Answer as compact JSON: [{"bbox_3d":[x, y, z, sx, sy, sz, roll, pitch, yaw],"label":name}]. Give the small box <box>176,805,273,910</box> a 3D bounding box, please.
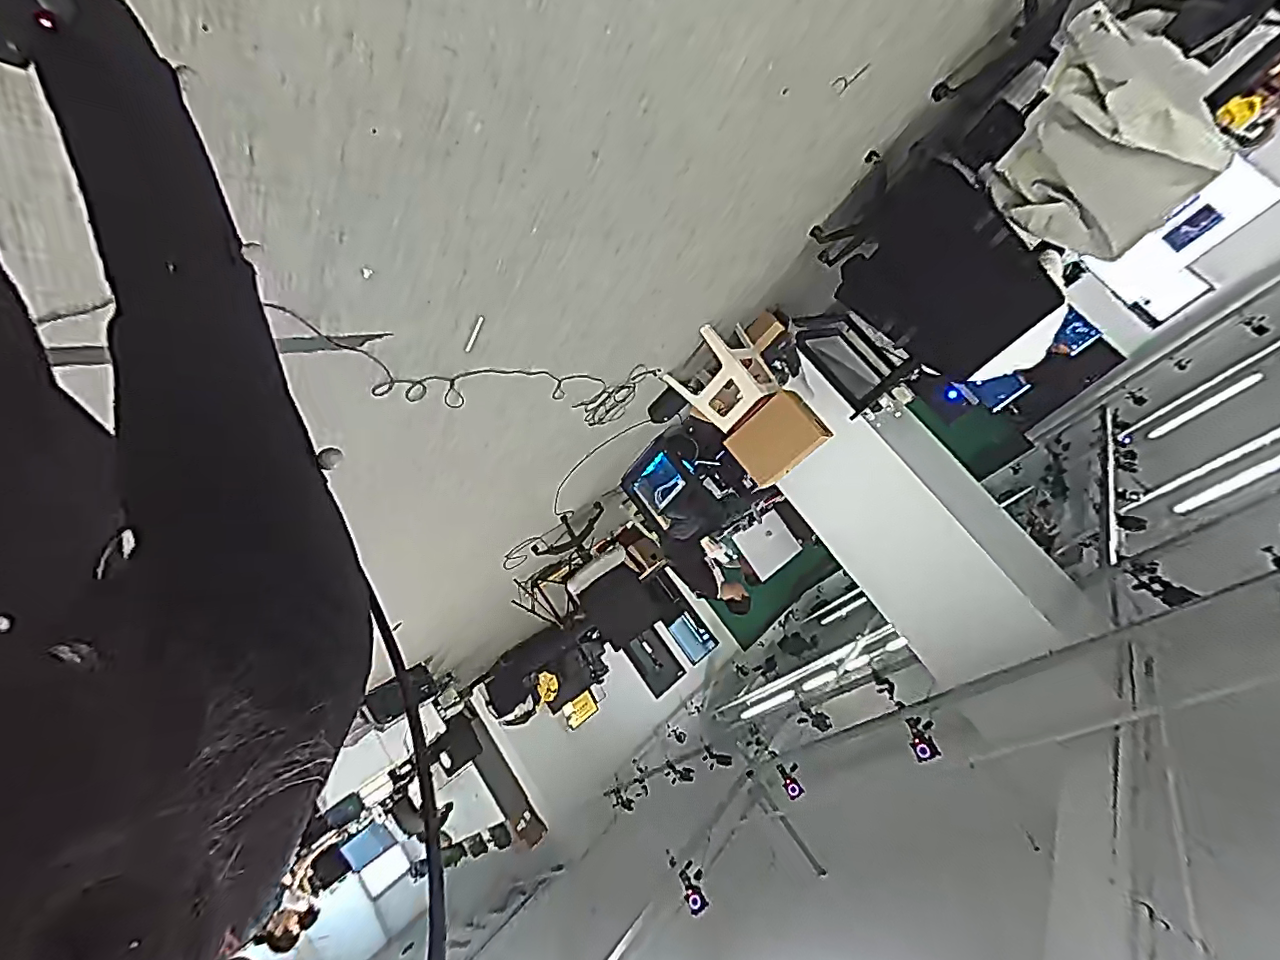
[{"bbox_3d":[-1.132,1.025,1.476,0.168,0.176,0.179,-24,161,-45],"label":"small box"}]
